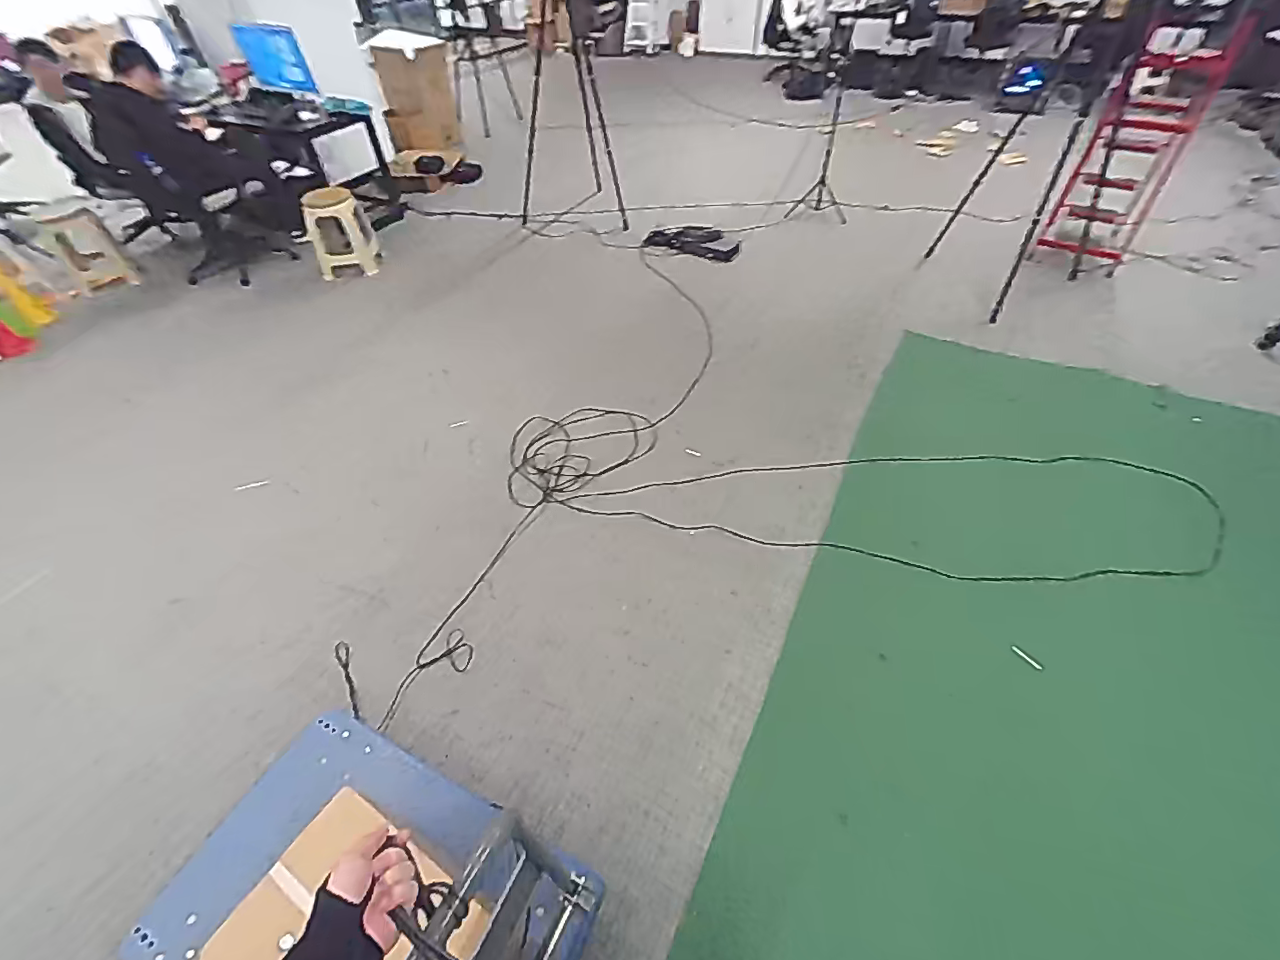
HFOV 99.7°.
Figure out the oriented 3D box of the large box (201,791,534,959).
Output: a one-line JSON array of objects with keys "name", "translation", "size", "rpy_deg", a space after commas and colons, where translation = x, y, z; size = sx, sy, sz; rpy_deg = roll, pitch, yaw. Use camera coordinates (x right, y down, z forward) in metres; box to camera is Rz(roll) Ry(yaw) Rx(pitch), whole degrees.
[{"name": "large box", "translation": [-0.463, 0.861, 0.984], "size": [0.408, 0.320, 0.320], "rpy_deg": [23, 51, 23]}]
